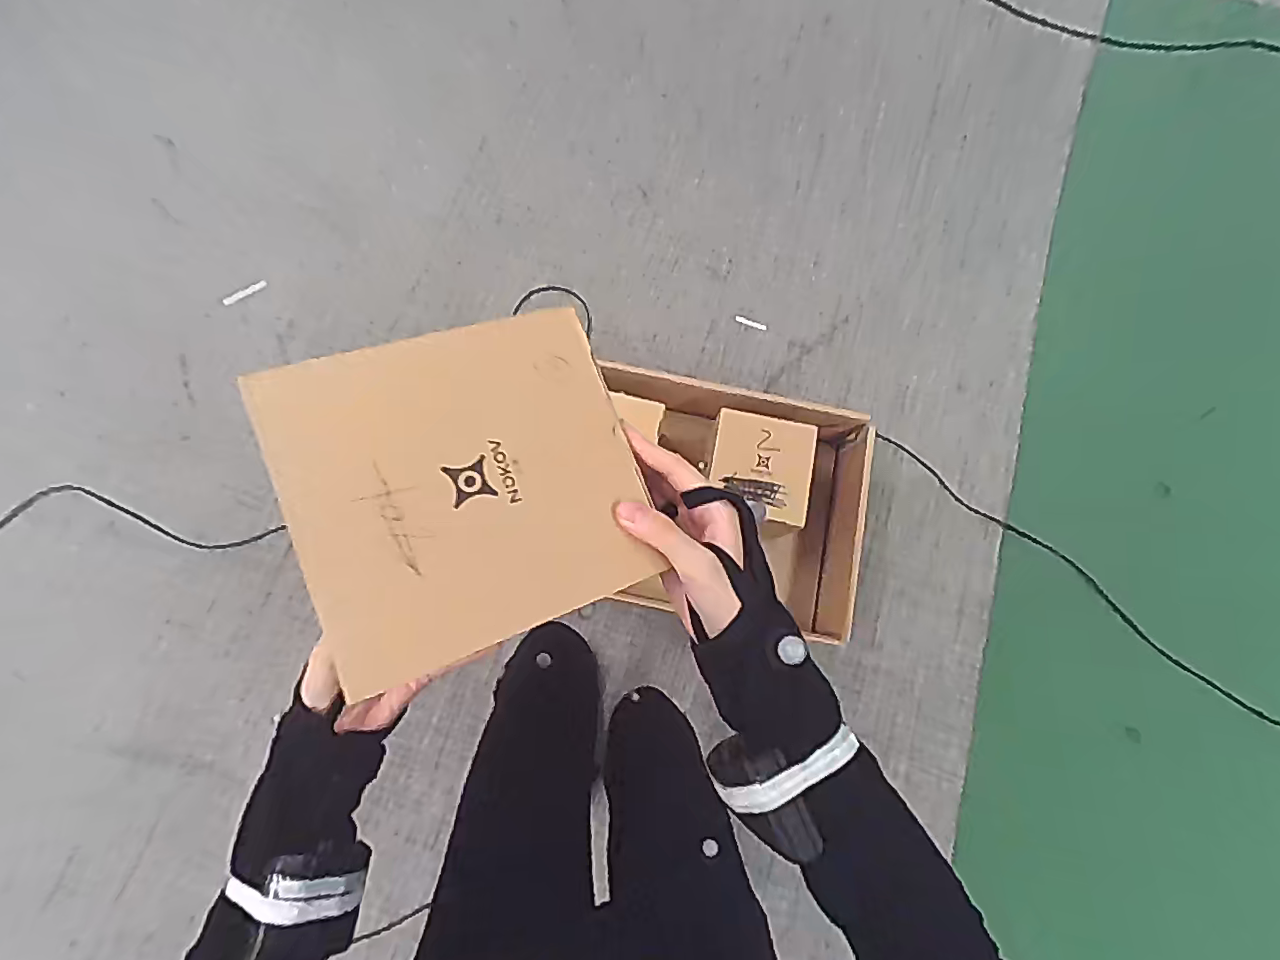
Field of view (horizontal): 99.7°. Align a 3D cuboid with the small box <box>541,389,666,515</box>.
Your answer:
[{"bbox_3d":[-0.061,-0.041,0.965,0.179,0.176,0.168,13,78,0],"label":"small box"}]
